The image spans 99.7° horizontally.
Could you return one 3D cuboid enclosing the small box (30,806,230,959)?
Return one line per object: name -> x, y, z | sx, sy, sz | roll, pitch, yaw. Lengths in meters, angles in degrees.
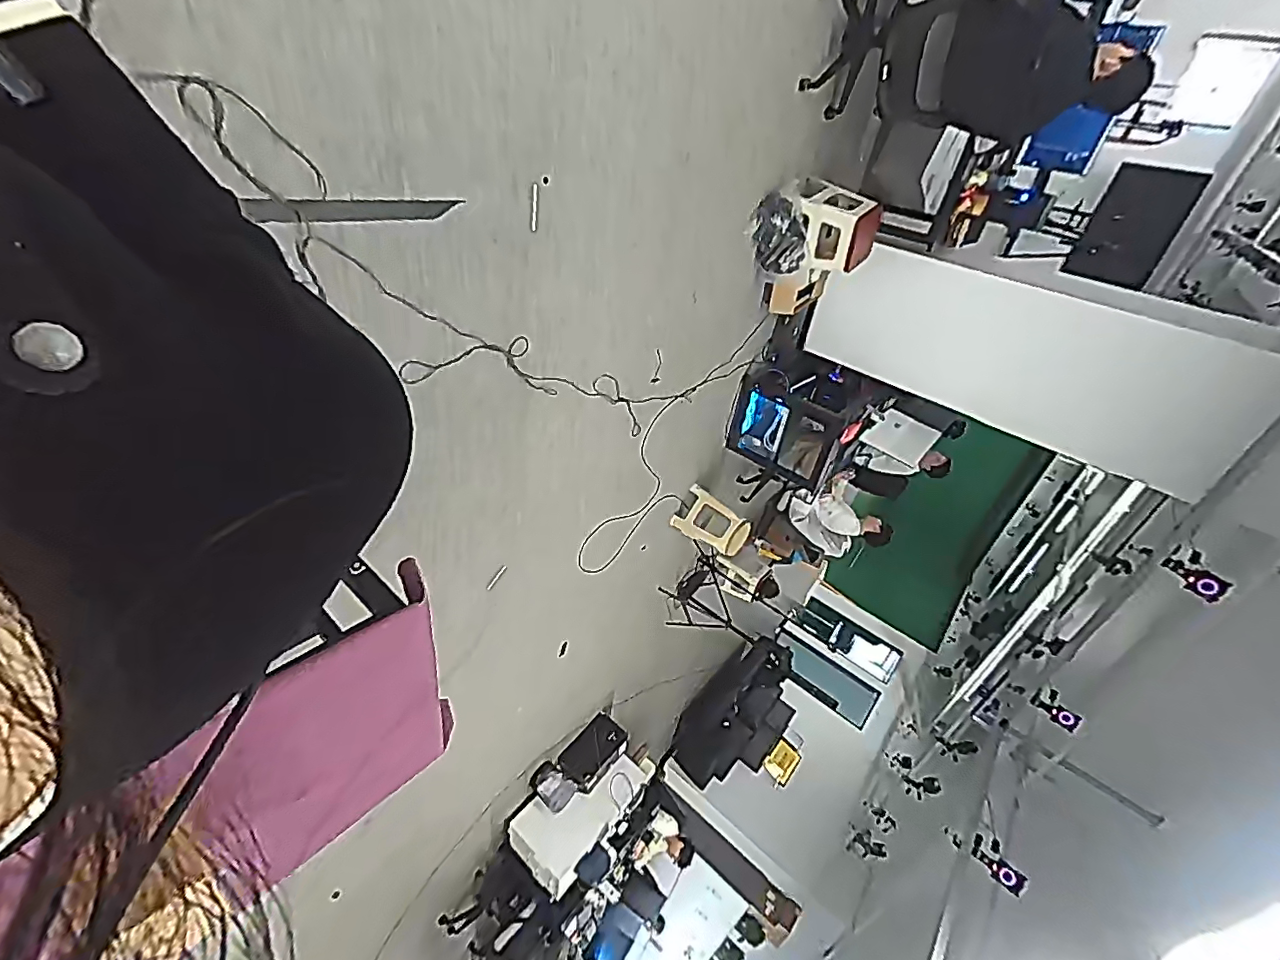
small box -> -0.784, 0.657, 0.841 | 0.168, 0.176, 0.179 | -30, 141, -46
